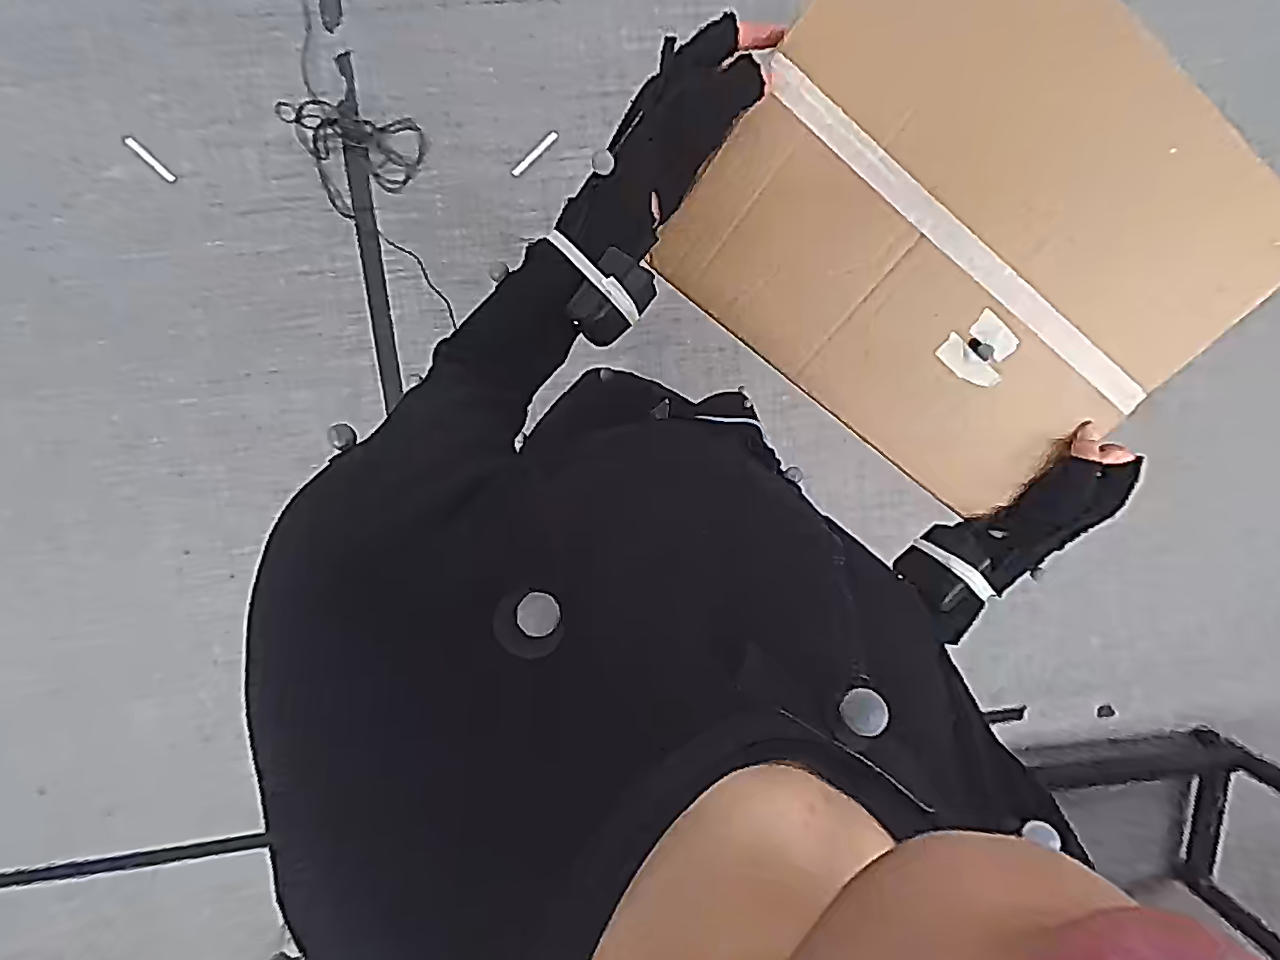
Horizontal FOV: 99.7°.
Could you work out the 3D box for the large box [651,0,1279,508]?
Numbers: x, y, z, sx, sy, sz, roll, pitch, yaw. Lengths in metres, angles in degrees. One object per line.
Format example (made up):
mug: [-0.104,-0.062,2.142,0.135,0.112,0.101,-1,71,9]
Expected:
large box: [0.263,-0.250,0.568,0.408,0.320,0.320,36,114,-11]
